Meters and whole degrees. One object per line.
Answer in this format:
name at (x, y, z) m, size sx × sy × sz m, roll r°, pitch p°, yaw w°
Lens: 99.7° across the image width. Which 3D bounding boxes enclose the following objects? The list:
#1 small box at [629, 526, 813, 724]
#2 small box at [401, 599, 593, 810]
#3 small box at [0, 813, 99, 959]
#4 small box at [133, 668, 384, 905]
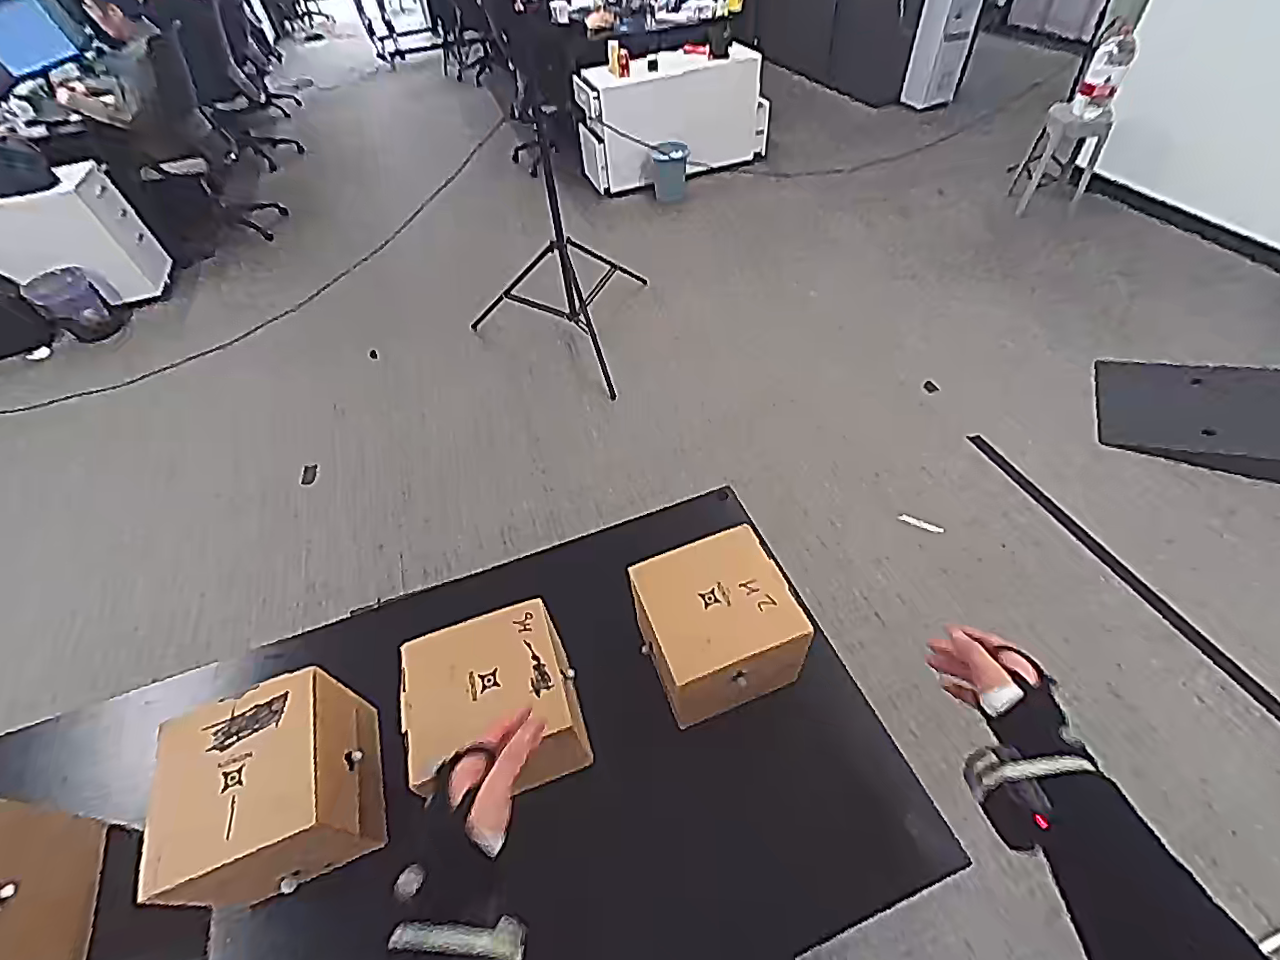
small box at (0.099, 0.194, 0.711) m, size 0.179 × 0.176 × 0.168 m, roll -18°, pitch 51°, yaw -9°
small box at (-0.171, 0.280, 0.667) m, size 0.179 × 0.176 × 0.168 m, roll -18°, pitch 51°, yaw -9°
small box at (-0.721, 0.470, 0.555) m, size 0.168 × 0.176 × 0.179 m, roll -21°, pitch 51°, yaw -14°
small box at (-0.417, 0.354, 0.625) m, size 0.168 × 0.176 × 0.179 m, roll -20°, pitch 52°, yaw -11°
